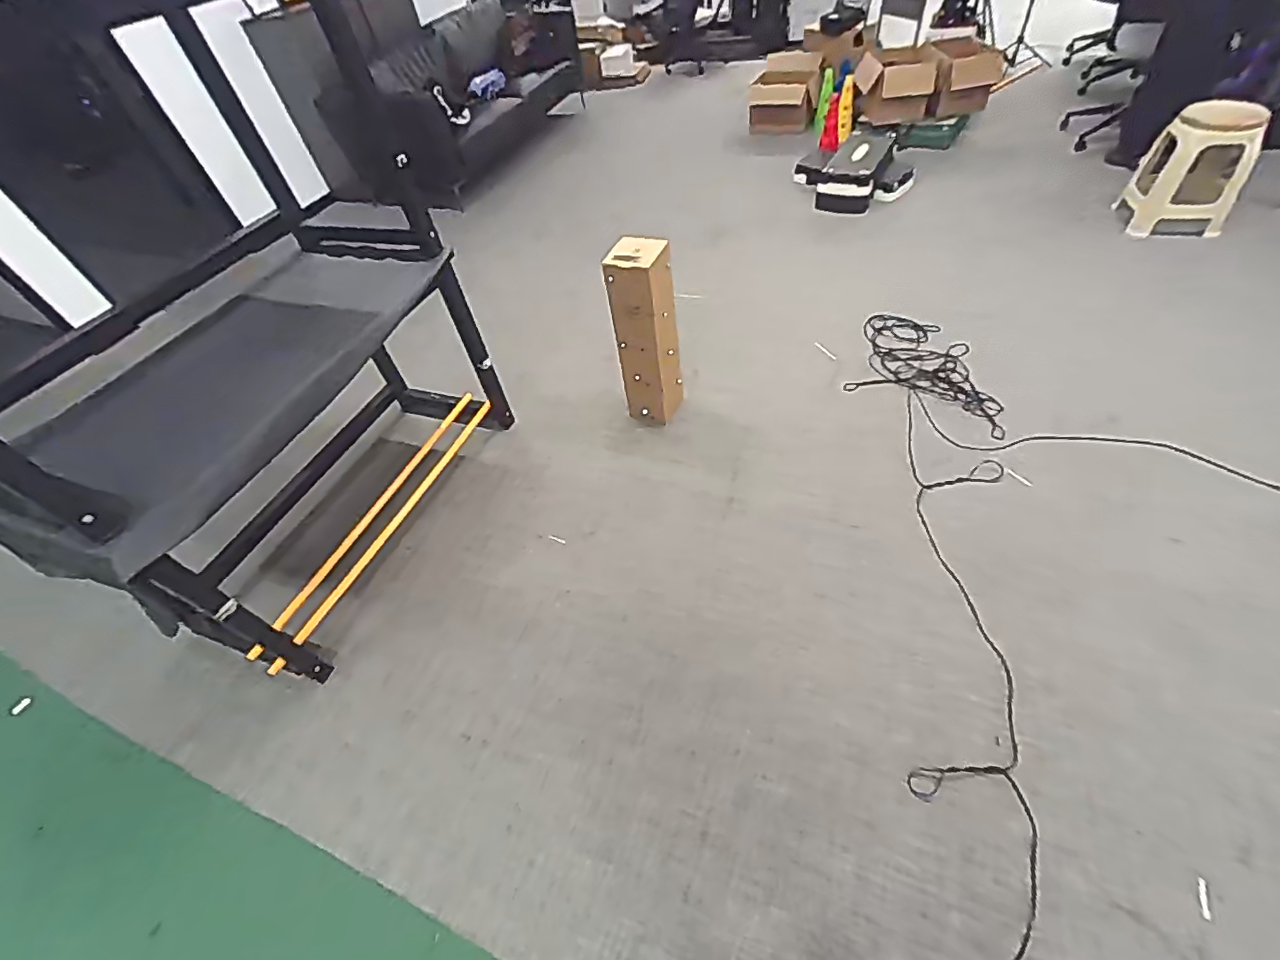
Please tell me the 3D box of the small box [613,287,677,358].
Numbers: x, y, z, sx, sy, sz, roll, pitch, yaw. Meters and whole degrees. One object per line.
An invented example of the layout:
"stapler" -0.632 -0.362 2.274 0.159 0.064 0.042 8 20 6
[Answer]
"small box" 0.025 -0.556 1.914 0.168 0.176 0.179 15 53 21

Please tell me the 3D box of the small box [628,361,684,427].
"small box" 0.070 -0.343 2.157 0.168 0.176 0.179 16 54 23
